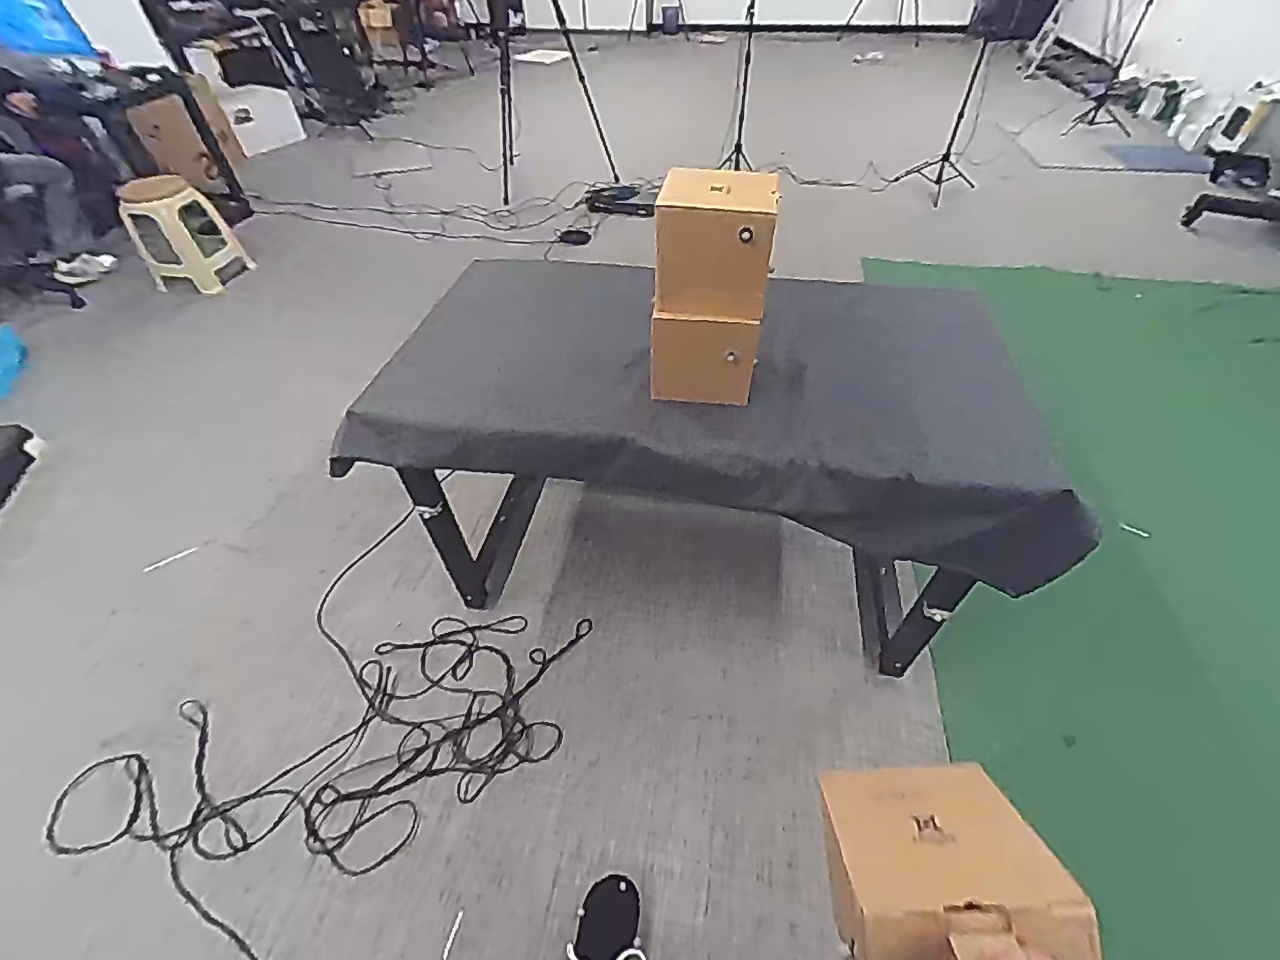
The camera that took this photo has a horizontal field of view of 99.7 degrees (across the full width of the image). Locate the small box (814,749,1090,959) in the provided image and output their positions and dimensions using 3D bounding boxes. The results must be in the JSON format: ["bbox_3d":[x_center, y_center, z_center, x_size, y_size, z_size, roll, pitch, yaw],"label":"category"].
[{"bbox_3d":[0.266,0.374,0.484,0.168,0.176,0.179,-7,3,7],"label":"small box"}]

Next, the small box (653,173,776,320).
[{"bbox_3d":[0.117,-0.374,0.871,0.179,0.176,0.168,7,47,7],"label":"small box"}]
